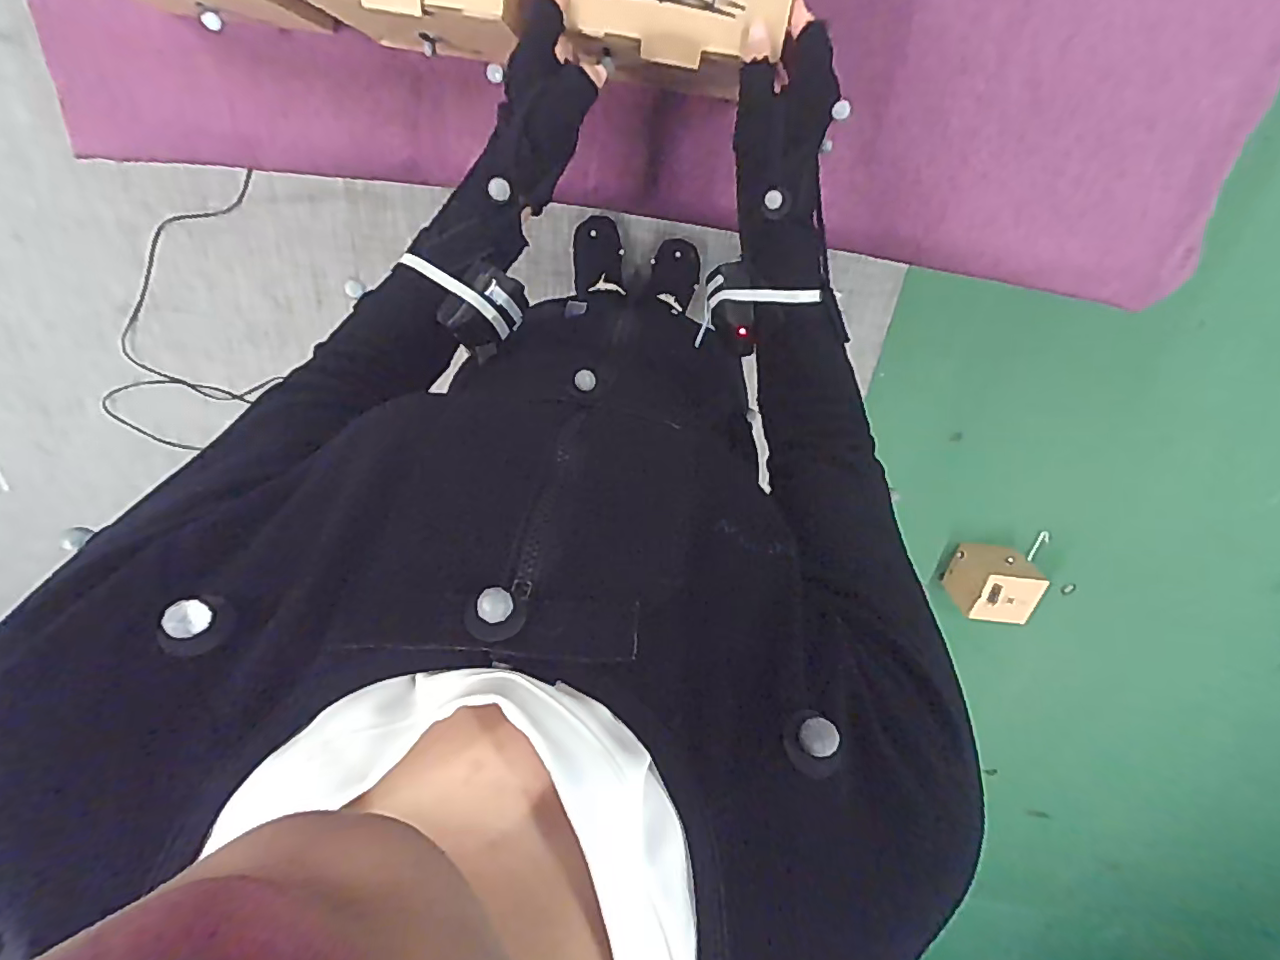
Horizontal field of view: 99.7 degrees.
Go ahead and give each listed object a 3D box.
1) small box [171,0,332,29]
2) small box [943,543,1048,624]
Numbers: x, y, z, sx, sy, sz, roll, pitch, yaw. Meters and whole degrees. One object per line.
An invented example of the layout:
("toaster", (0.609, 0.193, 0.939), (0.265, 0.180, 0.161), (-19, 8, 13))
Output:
("small box", (-0.372, -0.493, 0.420), (0.168, 0.176, 0.179), (7, 118, -2))
("small box", (1.053, 0.305, 1.622), (0.179, 0.176, 0.168), (7, 119, -2))
